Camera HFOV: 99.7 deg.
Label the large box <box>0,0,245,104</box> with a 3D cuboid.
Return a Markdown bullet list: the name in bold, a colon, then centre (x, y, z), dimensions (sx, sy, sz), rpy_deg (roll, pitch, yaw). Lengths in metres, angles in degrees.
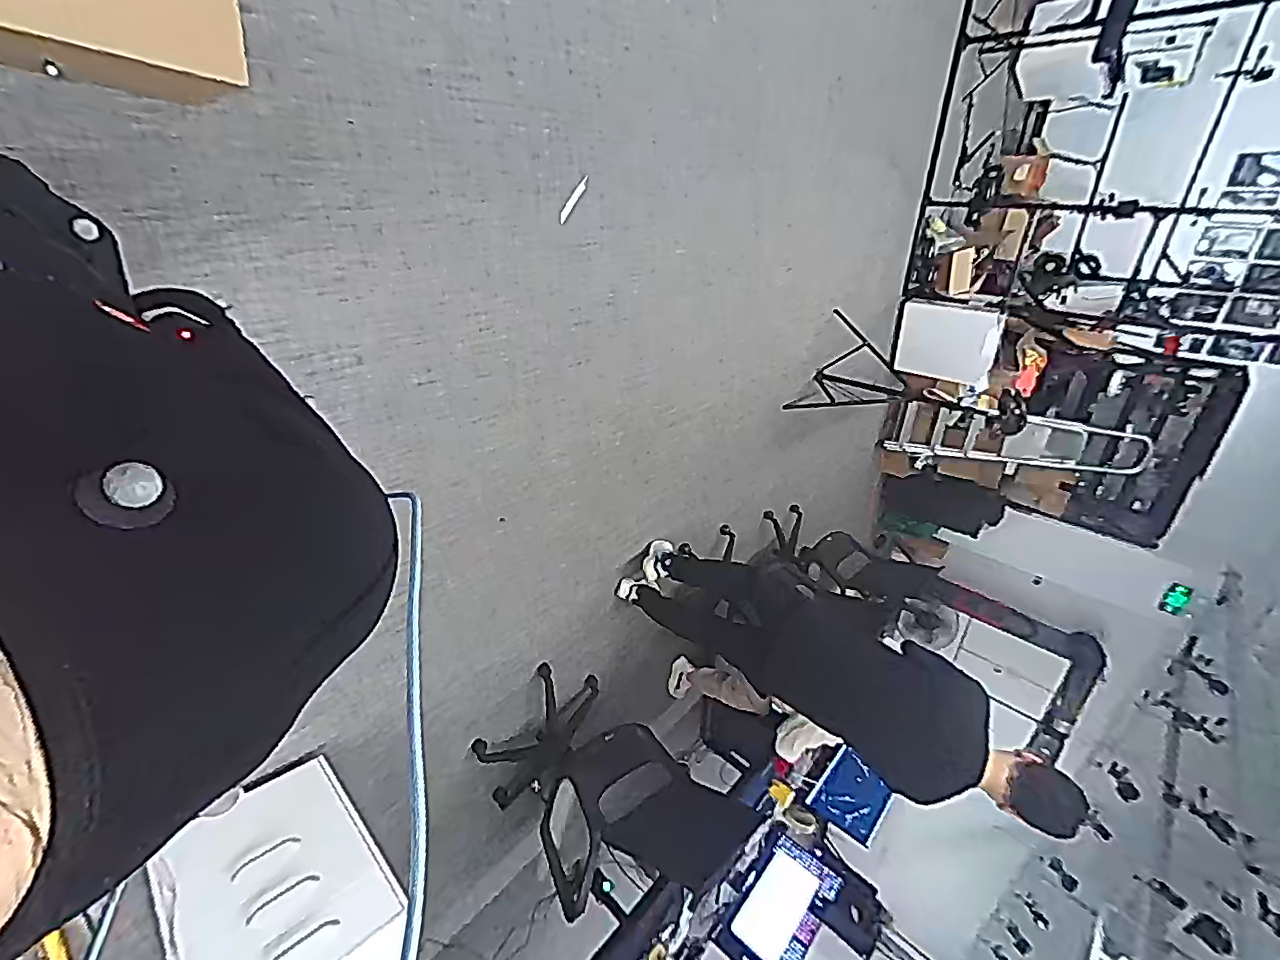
- **large box**: centre (-0.820, -0.729, 0.698), dimensions (0.408, 0.320, 0.320), rpy_deg (-19, 123, -45)
